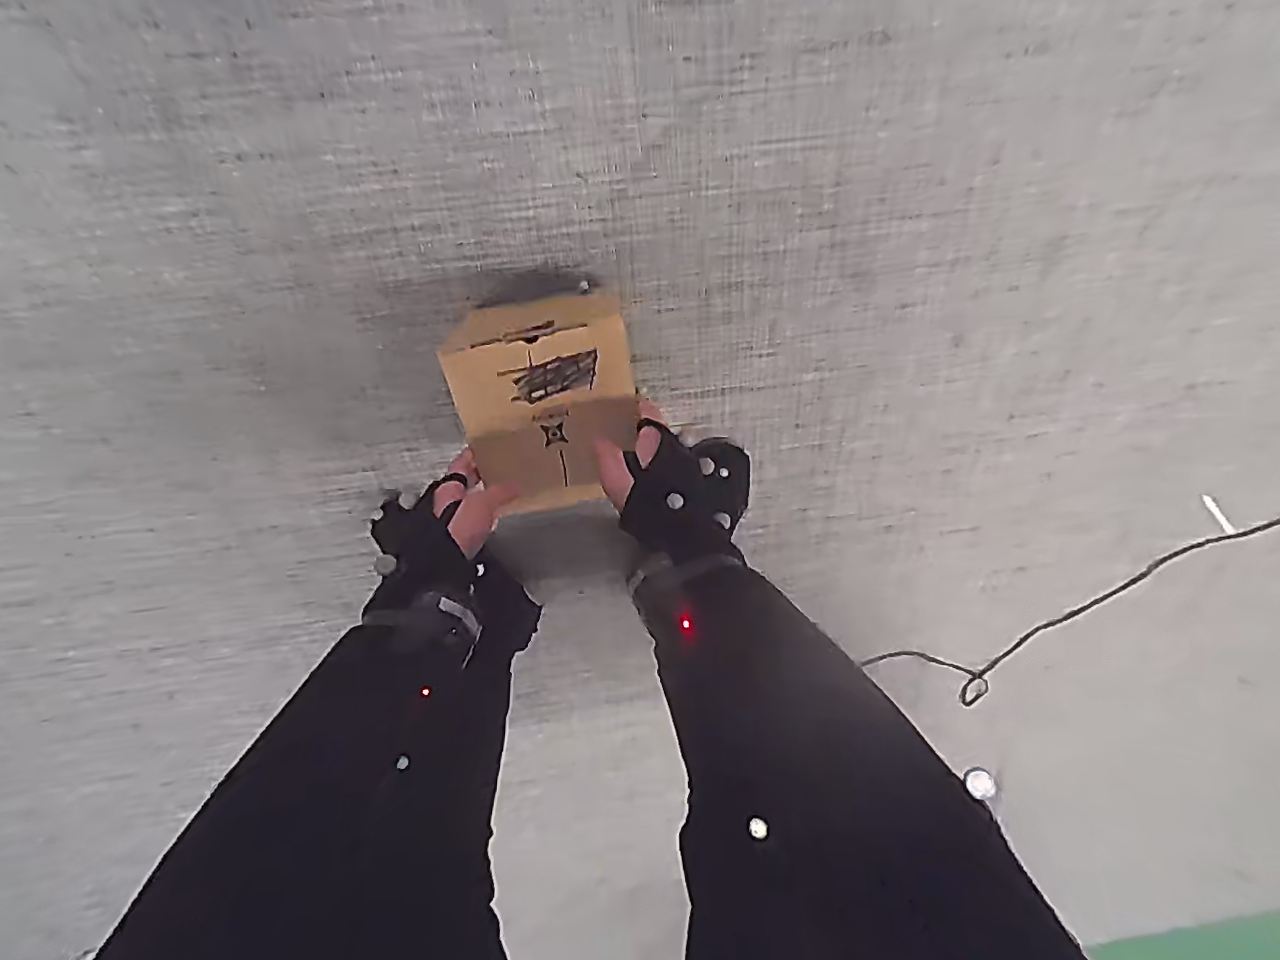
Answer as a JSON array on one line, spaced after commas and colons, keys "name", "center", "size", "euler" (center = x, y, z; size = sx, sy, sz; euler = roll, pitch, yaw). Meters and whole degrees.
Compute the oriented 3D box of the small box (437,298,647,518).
[{"name": "small box", "center": [-0.092, -0.087, 0.577], "size": [0.168, 0.176, 0.179], "euler": [-10, 119, 1]}]
